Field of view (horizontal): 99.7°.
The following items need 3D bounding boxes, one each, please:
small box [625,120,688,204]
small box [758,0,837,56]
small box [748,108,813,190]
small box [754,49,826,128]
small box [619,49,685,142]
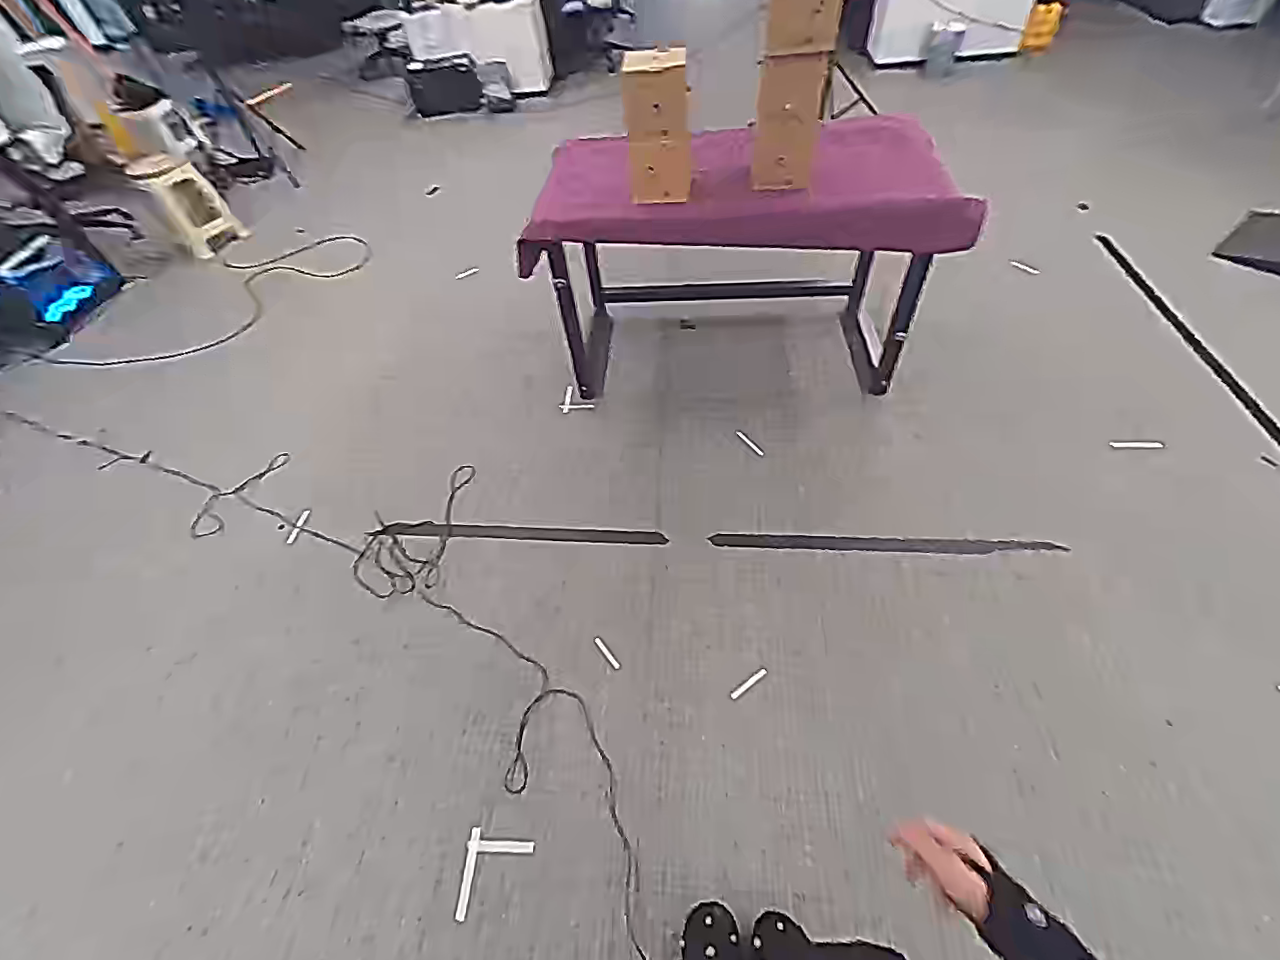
[{"bbox_3d":[0.055,-0.936,1.600,0.168,0.176,0.179,1,51,7],"label":"small box"},{"bbox_3d":[0.383,-1.159,1.321,0.168,0.176,0.179,0,51,6],"label":"small box"},{"bbox_3d":[0.408,-0.972,1.587,0.168,0.176,0.179,3,52,8],"label":"small box"},{"bbox_3d":[0.397,-1.076,1.461,0.168,0.176,0.179,2,53,9],"label":"small box"},{"bbox_3d":[0.039,-1.044,1.477,0.168,0.176,0.179,0,51,5],"label":"small box"}]
